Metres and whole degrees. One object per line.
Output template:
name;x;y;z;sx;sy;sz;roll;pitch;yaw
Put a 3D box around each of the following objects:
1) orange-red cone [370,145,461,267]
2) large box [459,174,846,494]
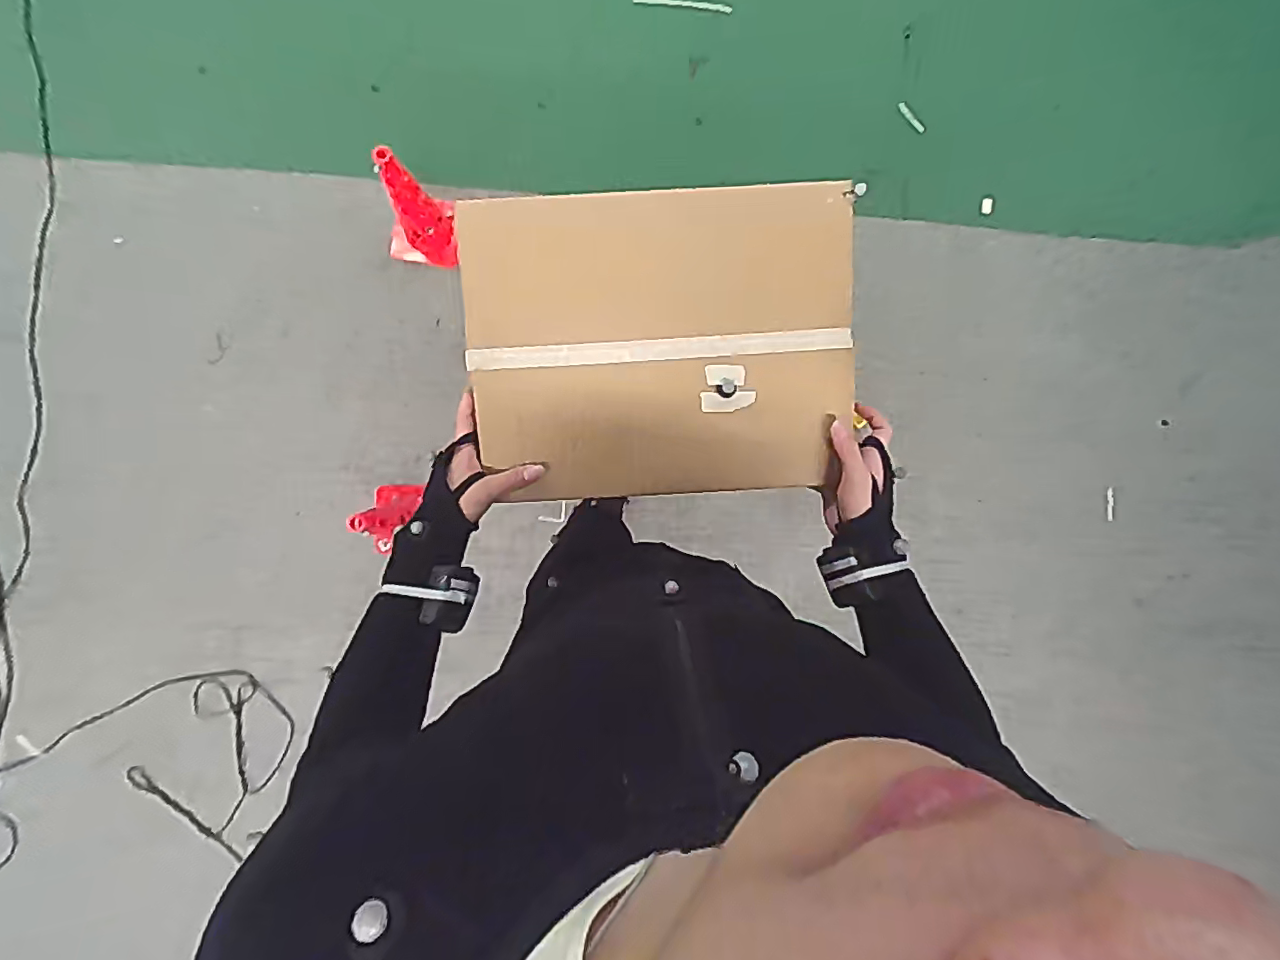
orange-red cone;-0.627;-0.754;1.441;0.199;0.360;0.198;10;85;-2
large box;0.016;-0.172;0.724;0.408;0.320;0.320;-4;99;-1
